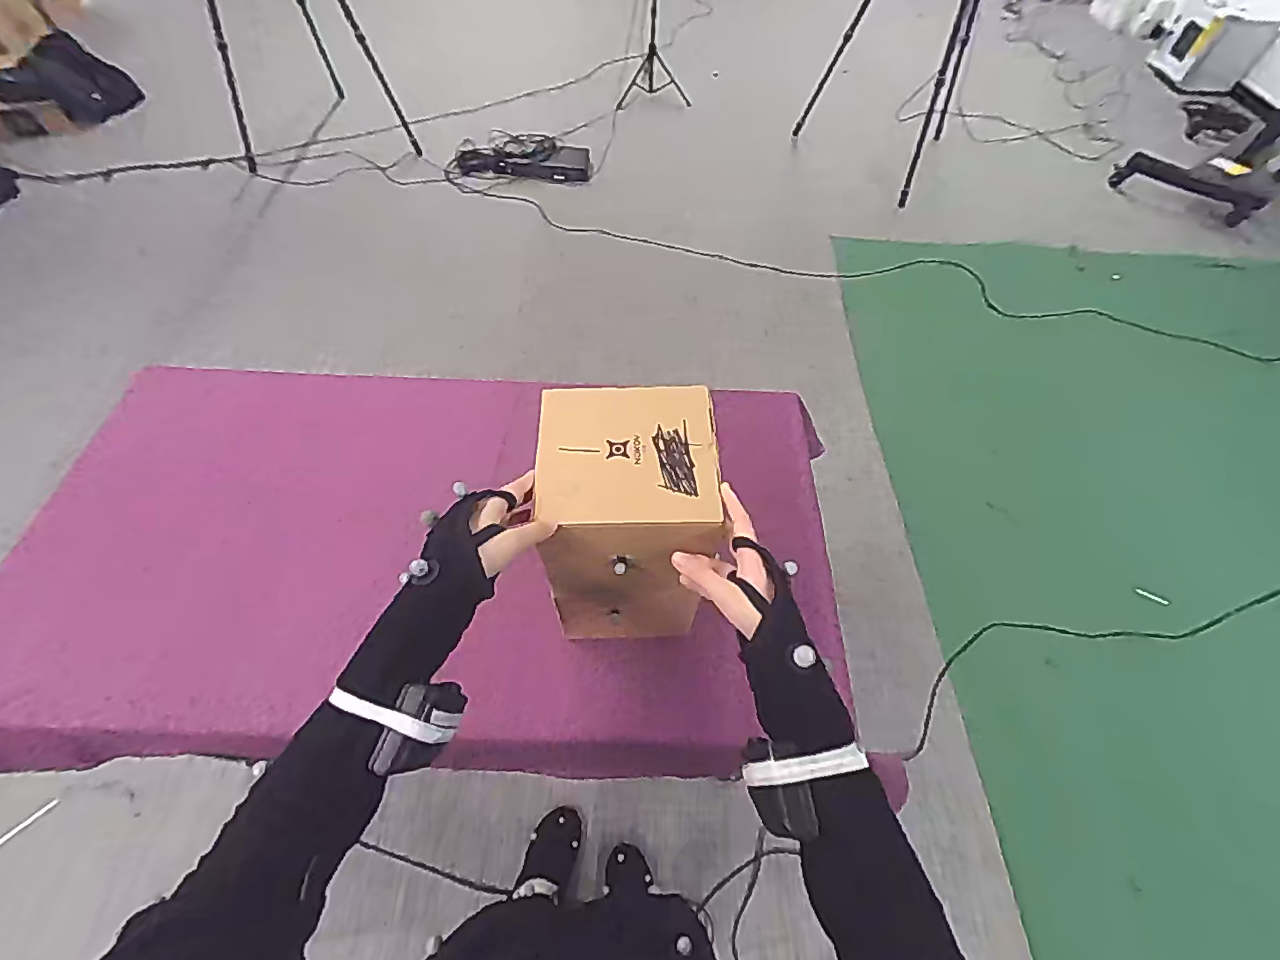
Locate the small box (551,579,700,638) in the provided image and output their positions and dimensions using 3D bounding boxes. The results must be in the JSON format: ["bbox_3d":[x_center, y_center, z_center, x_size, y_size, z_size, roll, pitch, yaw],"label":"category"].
[{"bbox_3d":[-0.017,0.109,0.732,0.179,0.176,0.168,0,56,-2],"label":"small box"}]

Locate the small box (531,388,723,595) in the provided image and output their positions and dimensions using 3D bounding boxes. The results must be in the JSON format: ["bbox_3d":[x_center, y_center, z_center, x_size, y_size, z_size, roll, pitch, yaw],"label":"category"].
[{"bbox_3d":[-0.013,0.018,0.594,0.179,0.176,0.168,-1,55,0],"label":"small box"}]
